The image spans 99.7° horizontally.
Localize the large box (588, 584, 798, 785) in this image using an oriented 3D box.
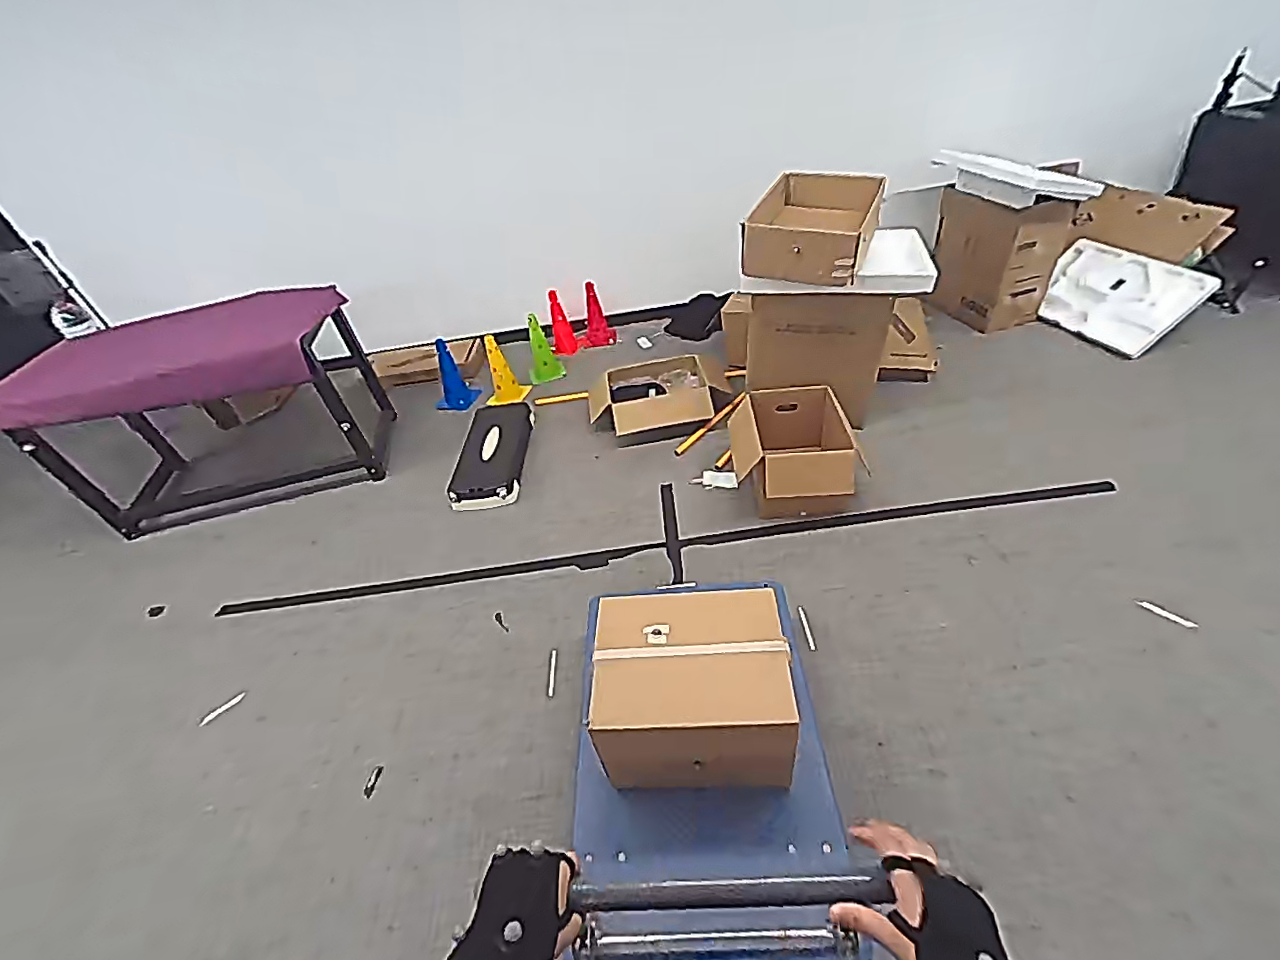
[{"bbox_3d":[0.119,0.468,1.226,0.408,0.320,0.320,-6,40,6],"label":"large box"}]
